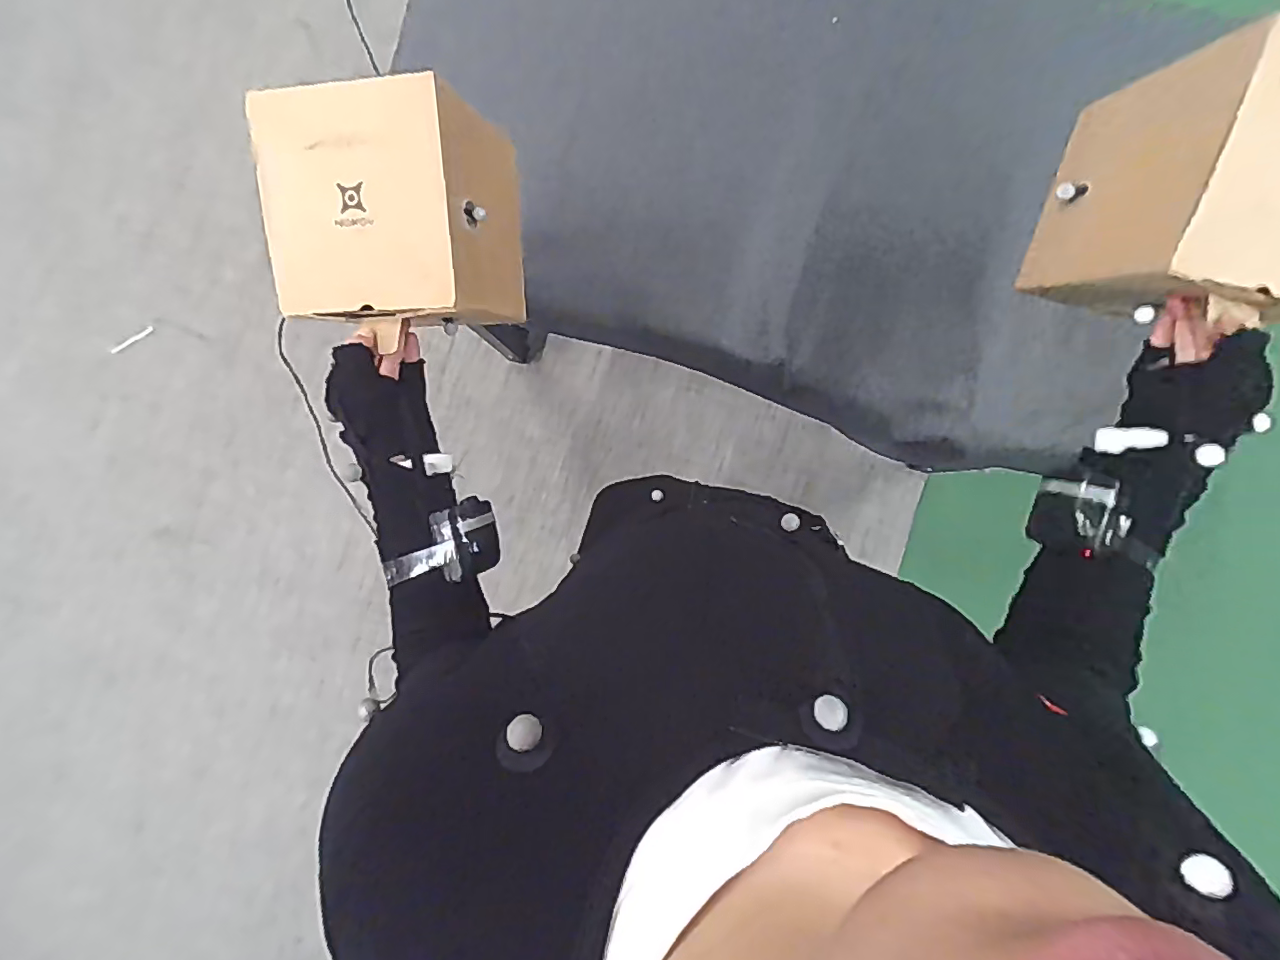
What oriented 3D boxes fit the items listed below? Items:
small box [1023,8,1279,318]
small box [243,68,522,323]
[{"bbox_3d":[0.490,-0.249,0.478,0.168,0.176,0.179,12,104,-6],"label":"small box"},{"bbox_3d":[-0.220,-0.243,0.512,0.168,0.176,0.179,-1,102,8],"label":"small box"}]
